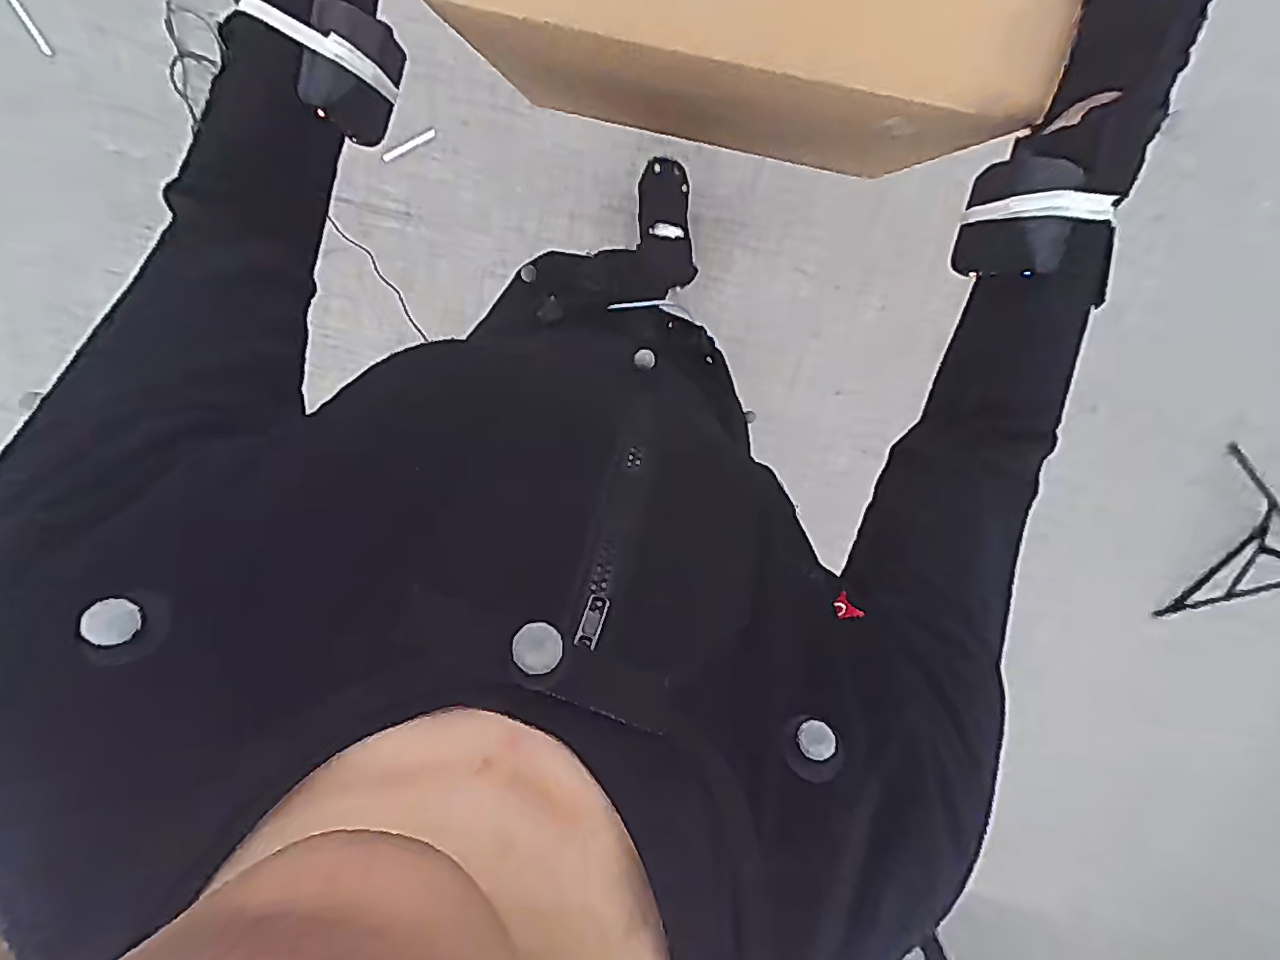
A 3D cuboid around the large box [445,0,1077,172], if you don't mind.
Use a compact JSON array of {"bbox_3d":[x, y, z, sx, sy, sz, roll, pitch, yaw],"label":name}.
[{"bbox_3d":[0.096,-0.468,0.426,0.408,0.320,0.320,11,115,-2],"label":"large box"}]
